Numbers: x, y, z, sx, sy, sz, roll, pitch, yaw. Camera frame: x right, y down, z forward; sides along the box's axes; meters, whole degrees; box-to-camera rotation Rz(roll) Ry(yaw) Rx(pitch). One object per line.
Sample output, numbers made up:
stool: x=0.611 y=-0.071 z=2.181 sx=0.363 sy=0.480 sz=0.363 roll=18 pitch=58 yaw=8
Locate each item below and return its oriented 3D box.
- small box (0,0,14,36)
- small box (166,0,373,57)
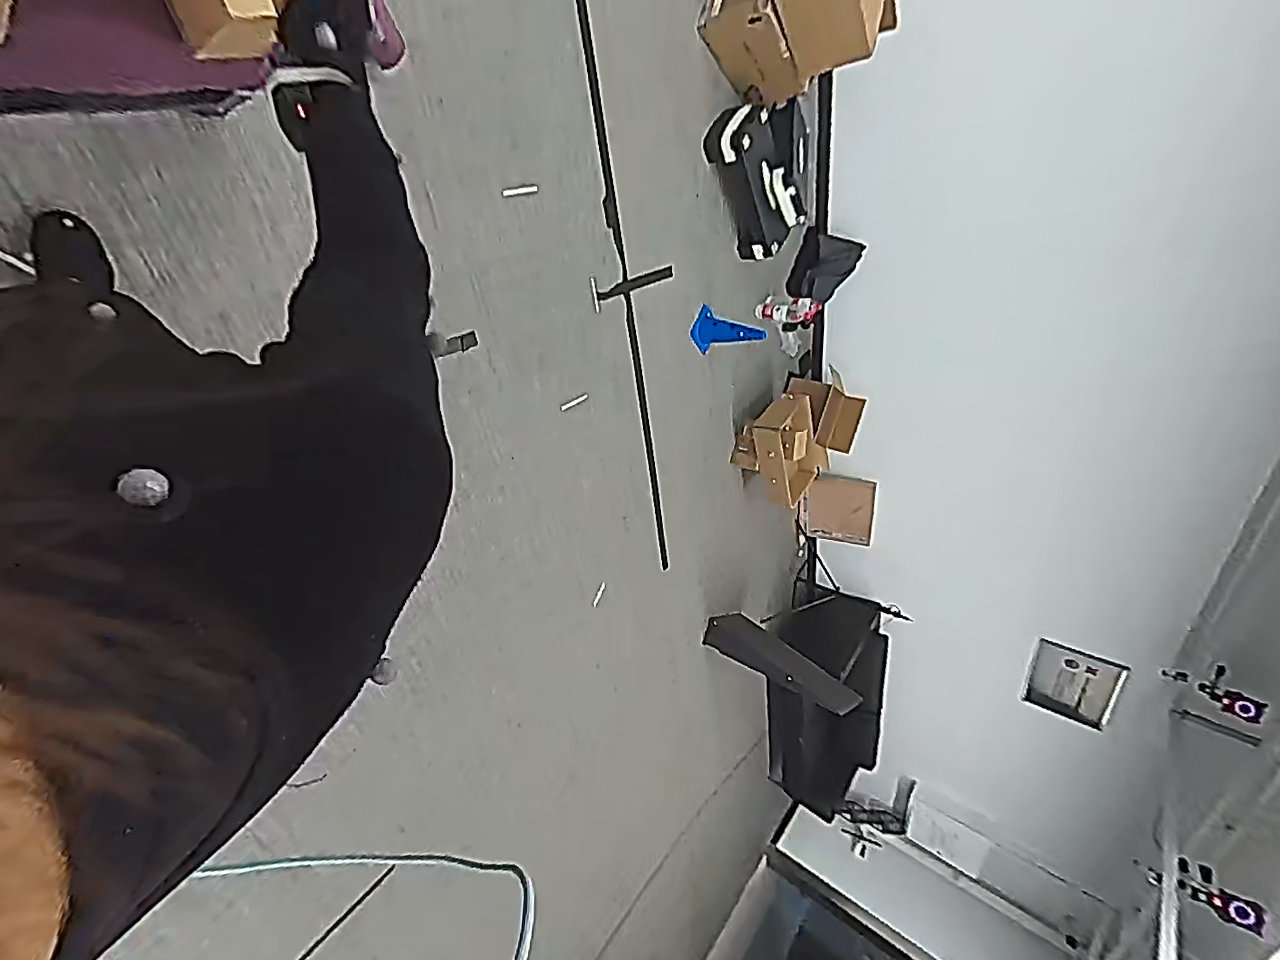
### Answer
small box: x=-0.646 y=-0.467 z=0.410 sx=0.168 sy=0.176 sz=0.179 roll=-33 pitch=128 yaw=-40
small box: x=-0.445 y=-0.606 z=0.606 sx=0.168 sy=0.176 sz=0.179 roll=-38 pitch=131 yaw=-35
